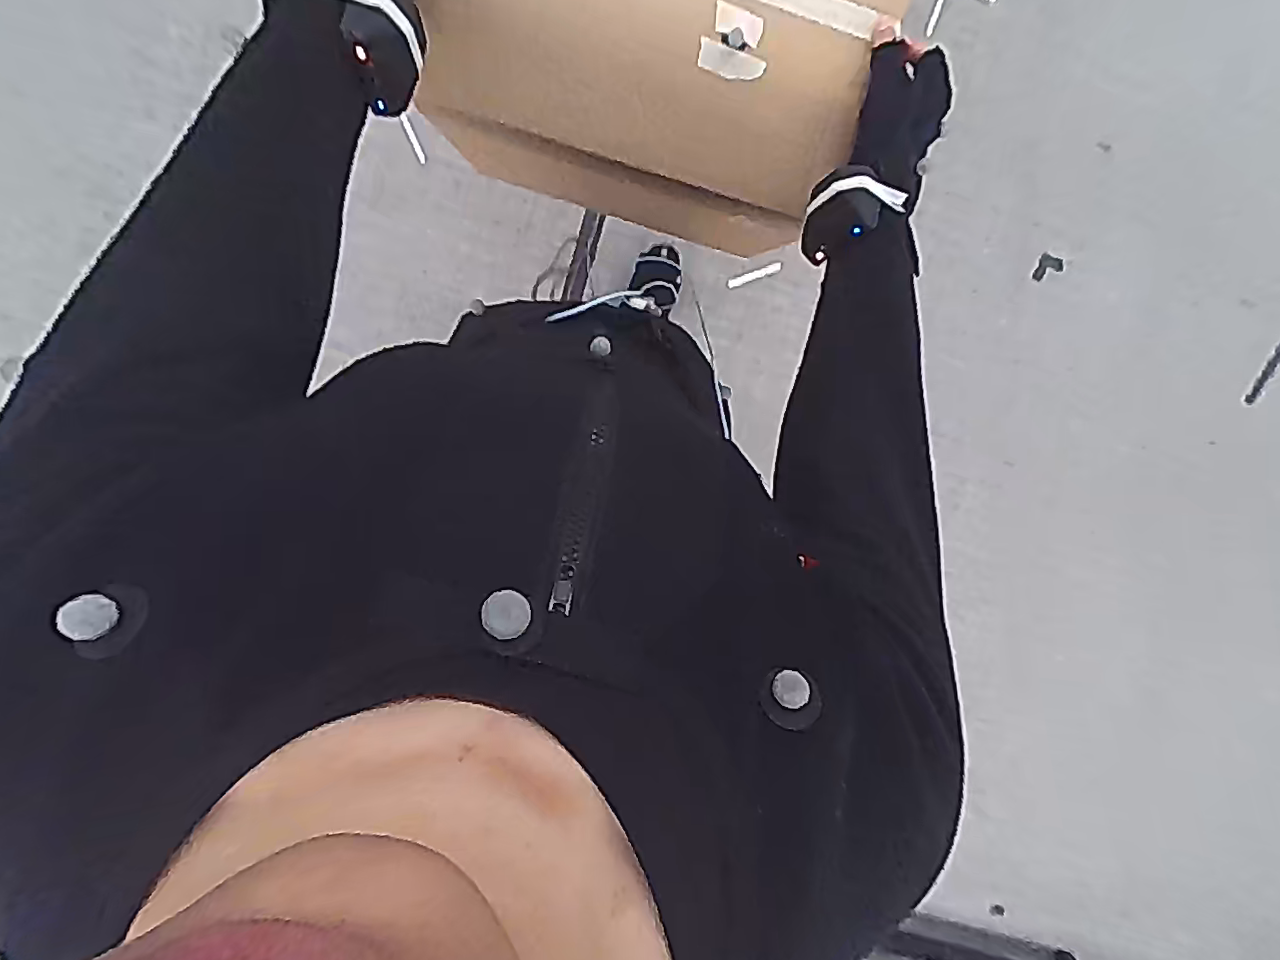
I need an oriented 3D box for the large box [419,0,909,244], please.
[{"bbox_3d":[0.025,-0.485,0.590,0.408,0.320,0.320,14,107,-8],"label":"large box"}]
